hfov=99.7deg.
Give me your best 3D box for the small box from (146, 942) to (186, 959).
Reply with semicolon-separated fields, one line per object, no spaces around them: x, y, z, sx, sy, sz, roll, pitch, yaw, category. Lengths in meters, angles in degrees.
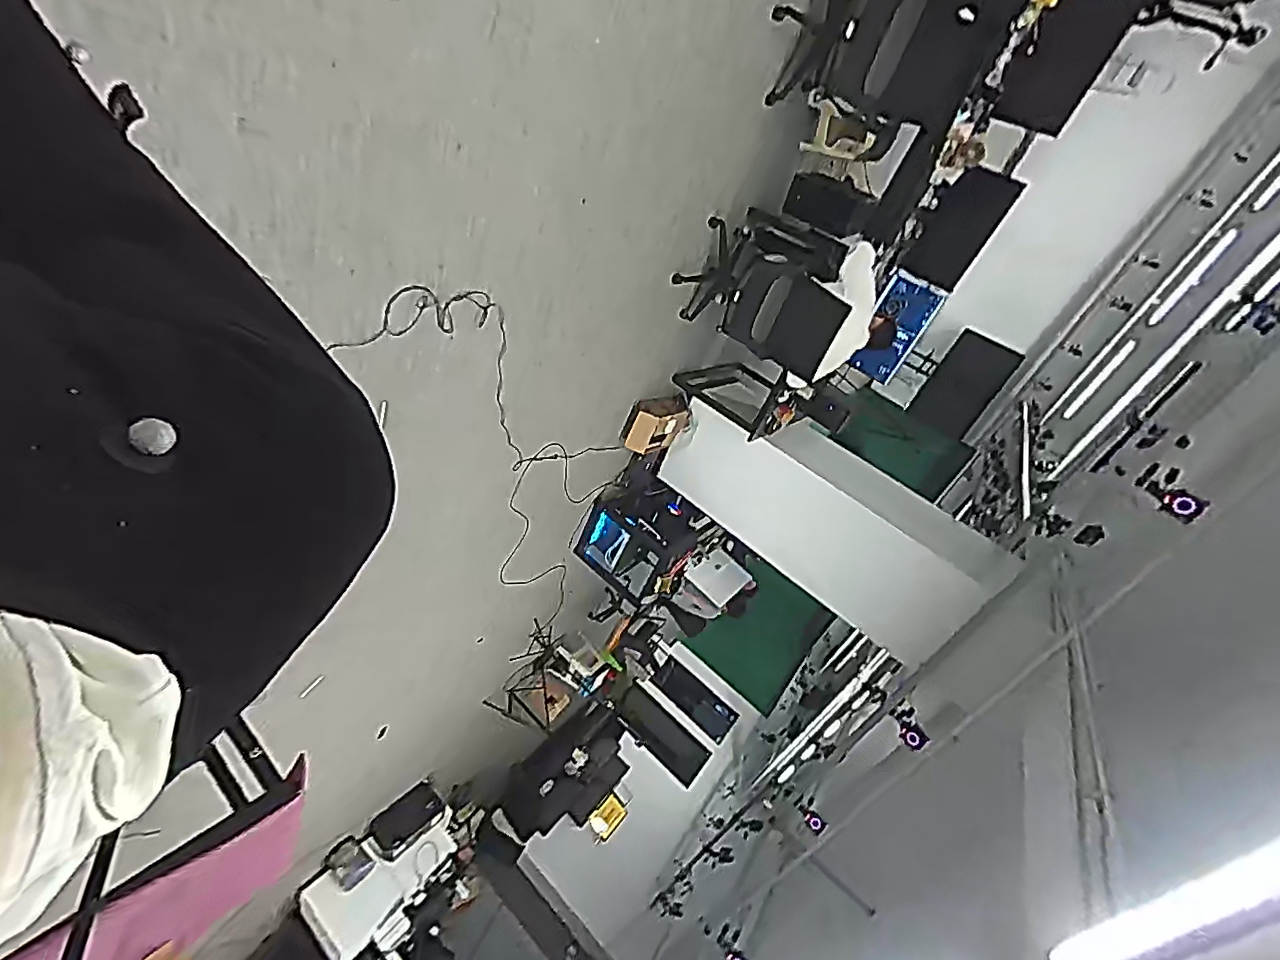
-1.486;1.578;1.652;0.168;0.176;0.179;-20;142;-54;small box
